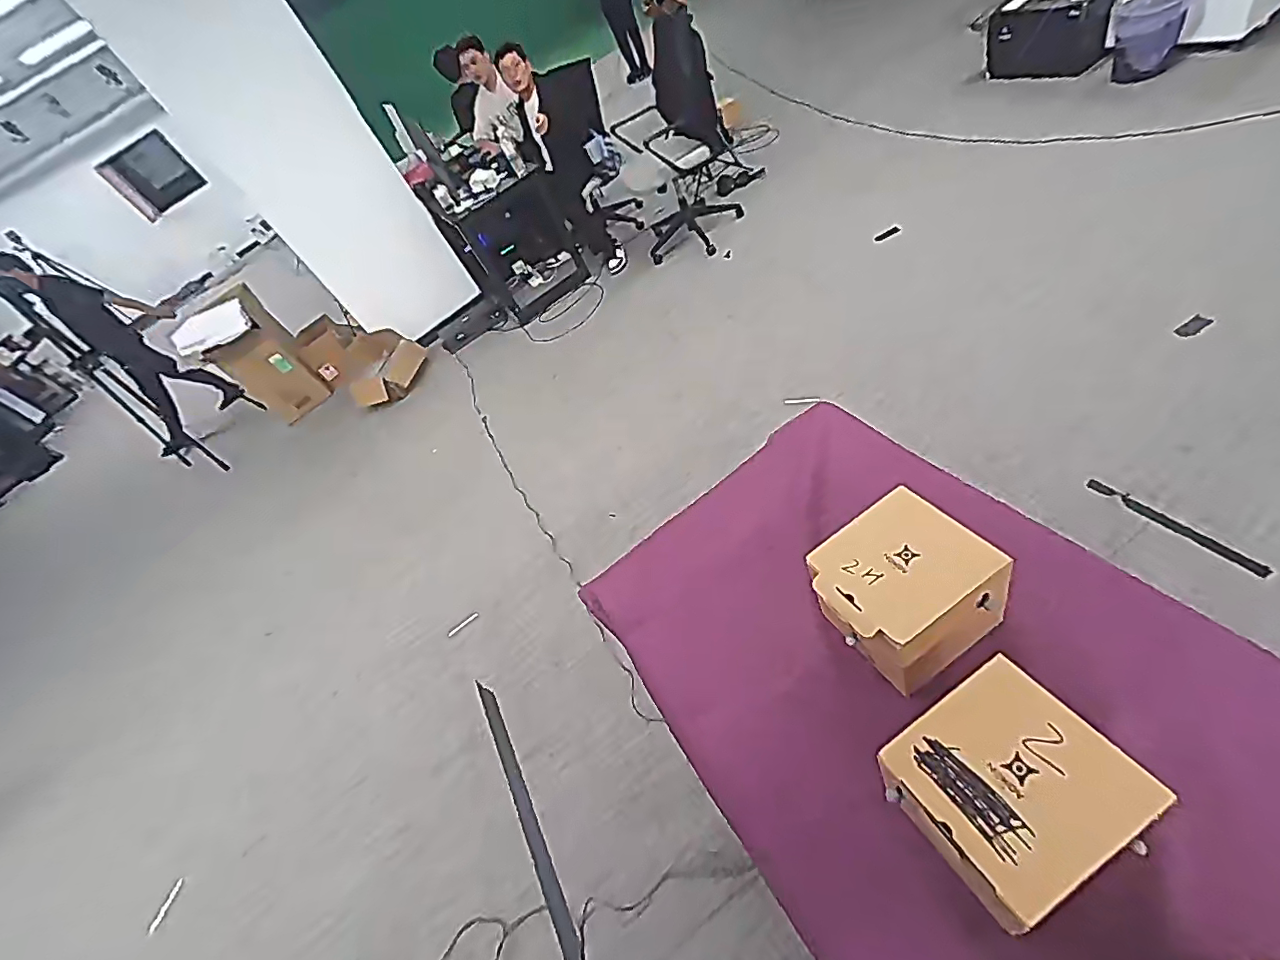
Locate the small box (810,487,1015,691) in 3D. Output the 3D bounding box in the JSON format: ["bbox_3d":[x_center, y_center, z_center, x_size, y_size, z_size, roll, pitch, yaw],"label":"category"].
[{"bbox_3d":[0.363,0.150,0.737,0.179,0.176,0.168,-36,43,-4],"label":"small box"}]
